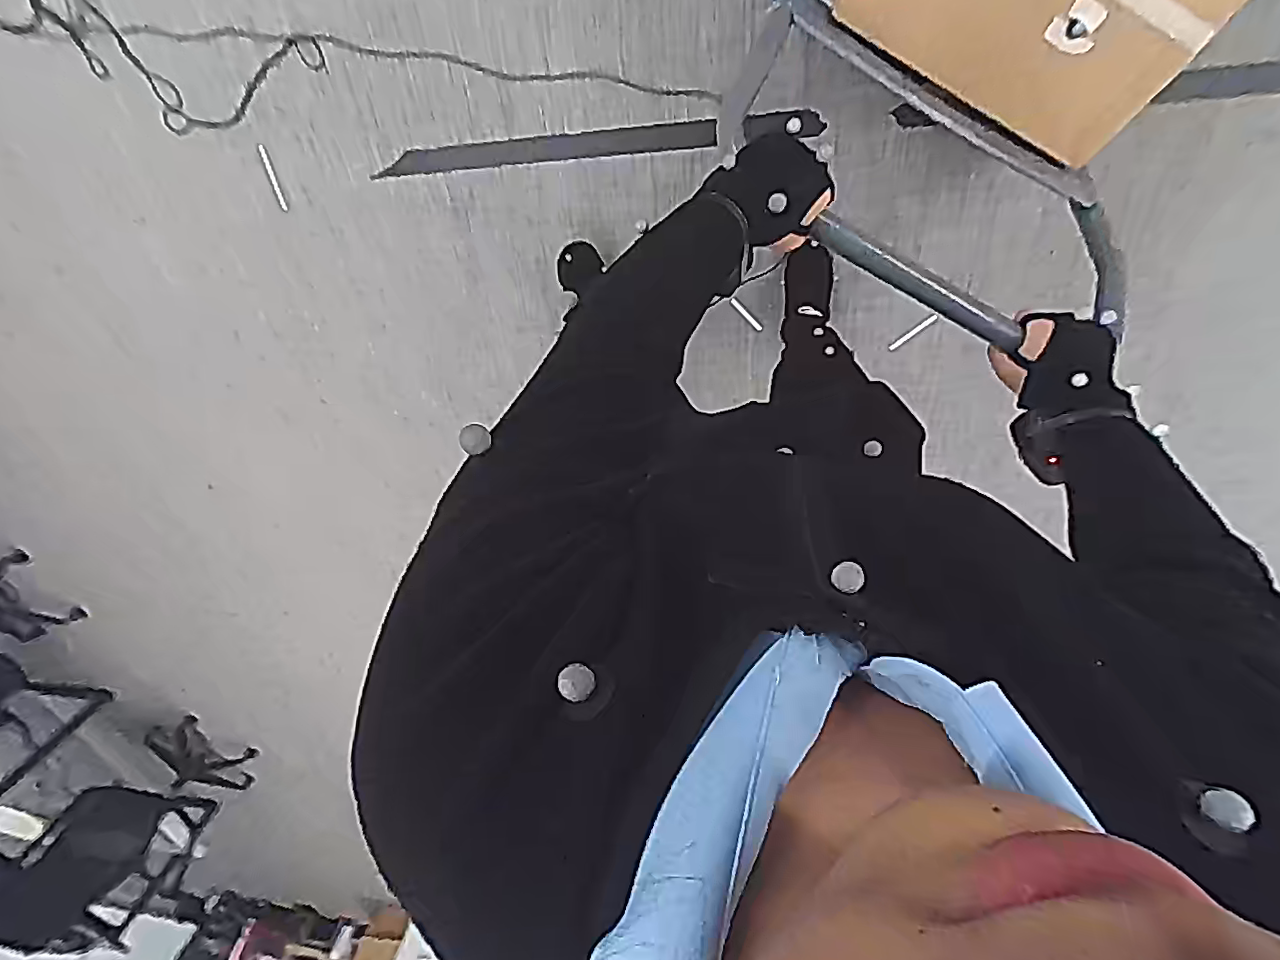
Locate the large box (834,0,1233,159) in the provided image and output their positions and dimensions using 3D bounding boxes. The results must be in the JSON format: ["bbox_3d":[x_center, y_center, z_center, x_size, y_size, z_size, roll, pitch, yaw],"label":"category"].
[{"bbox_3d":[0.519,-0.718,0.713,0.408,0.320,0.320,26,141,-7],"label":"large box"}]
